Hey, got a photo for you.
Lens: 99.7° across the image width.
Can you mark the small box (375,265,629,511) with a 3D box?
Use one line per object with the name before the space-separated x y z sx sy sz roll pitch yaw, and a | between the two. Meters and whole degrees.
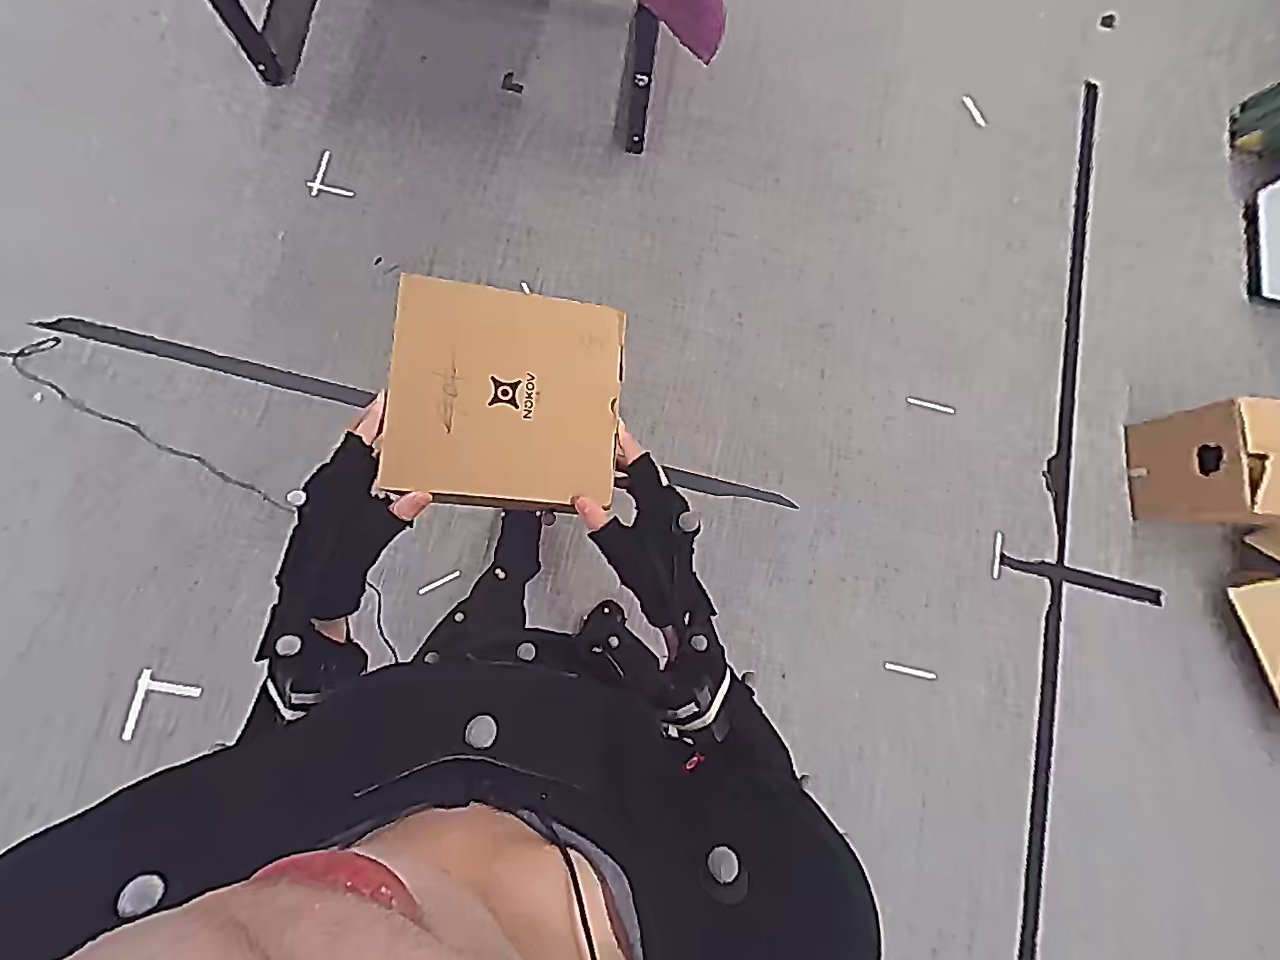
small box | -0.116 -0.062 0.482 0.179 0.176 0.168 4 82 -13
